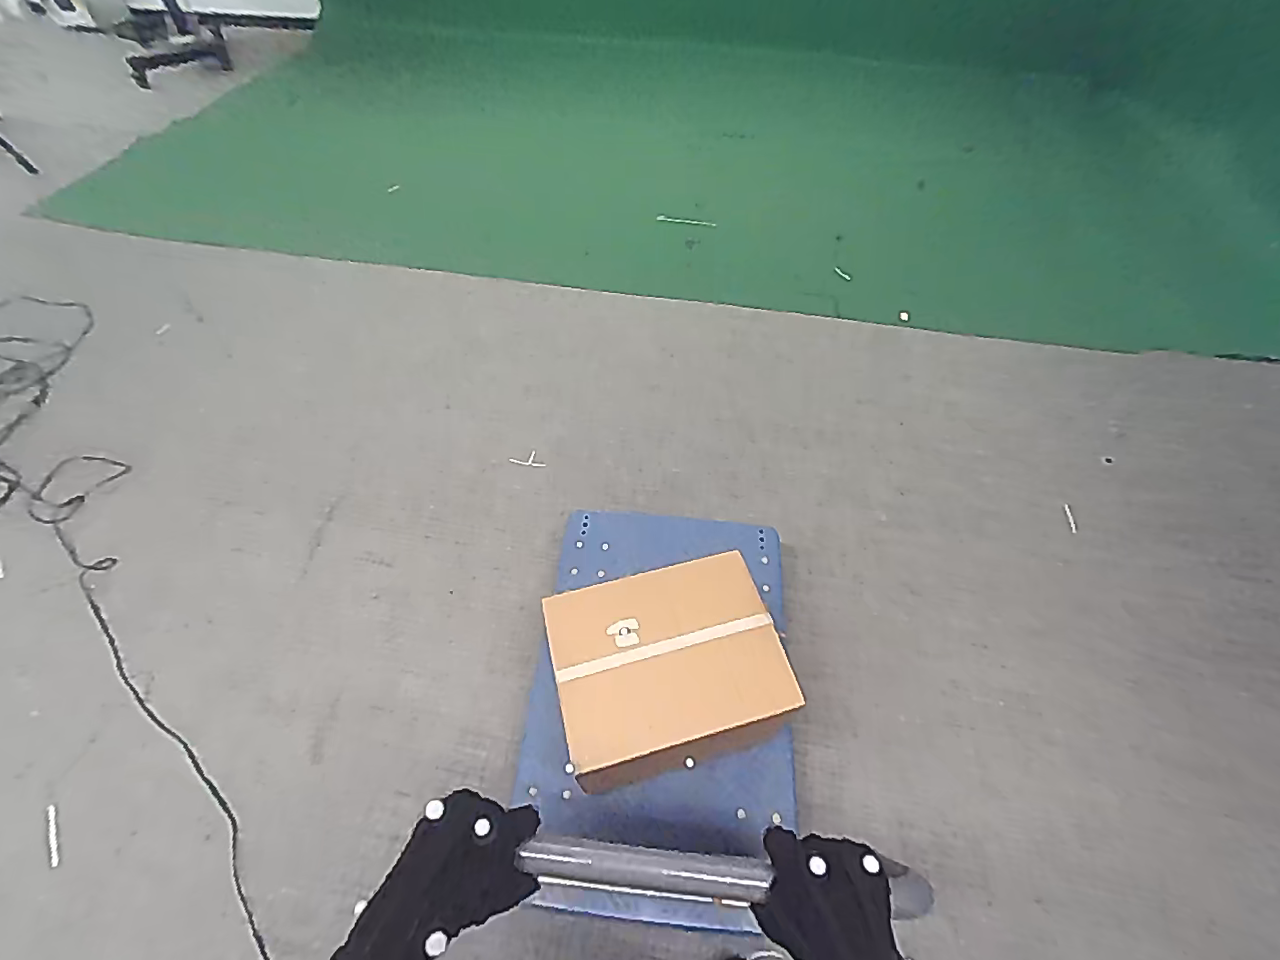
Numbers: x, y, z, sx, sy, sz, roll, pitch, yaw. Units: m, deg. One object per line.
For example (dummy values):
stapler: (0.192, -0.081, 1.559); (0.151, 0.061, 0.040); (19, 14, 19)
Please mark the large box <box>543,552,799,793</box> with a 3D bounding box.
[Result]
large box: (0.049, 0.396, 1.104); (0.408, 0.320, 0.320); (-14, 54, -9)
